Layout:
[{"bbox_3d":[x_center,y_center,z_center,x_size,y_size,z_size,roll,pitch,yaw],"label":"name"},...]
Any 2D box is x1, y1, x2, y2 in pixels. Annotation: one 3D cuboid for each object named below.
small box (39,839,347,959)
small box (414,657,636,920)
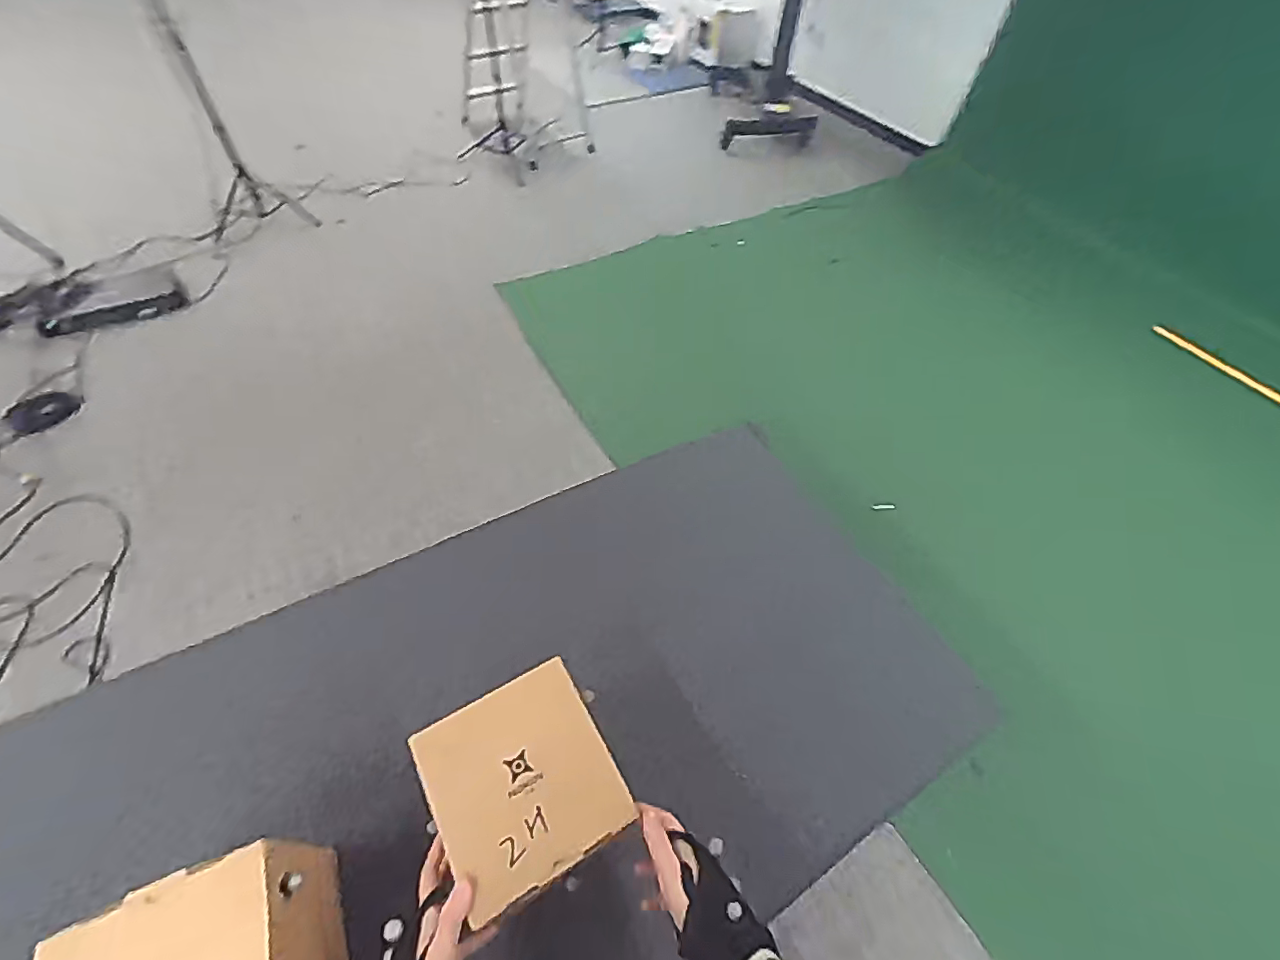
[{"bbox_3d":[-0.372,0.453,0.475,0.168,0.176,0.179,-19,56,-18],"label":"small box"},{"bbox_3d":[-0.119,0.331,0.585,0.168,0.176,0.179,-24,58,-20],"label":"small box"}]
